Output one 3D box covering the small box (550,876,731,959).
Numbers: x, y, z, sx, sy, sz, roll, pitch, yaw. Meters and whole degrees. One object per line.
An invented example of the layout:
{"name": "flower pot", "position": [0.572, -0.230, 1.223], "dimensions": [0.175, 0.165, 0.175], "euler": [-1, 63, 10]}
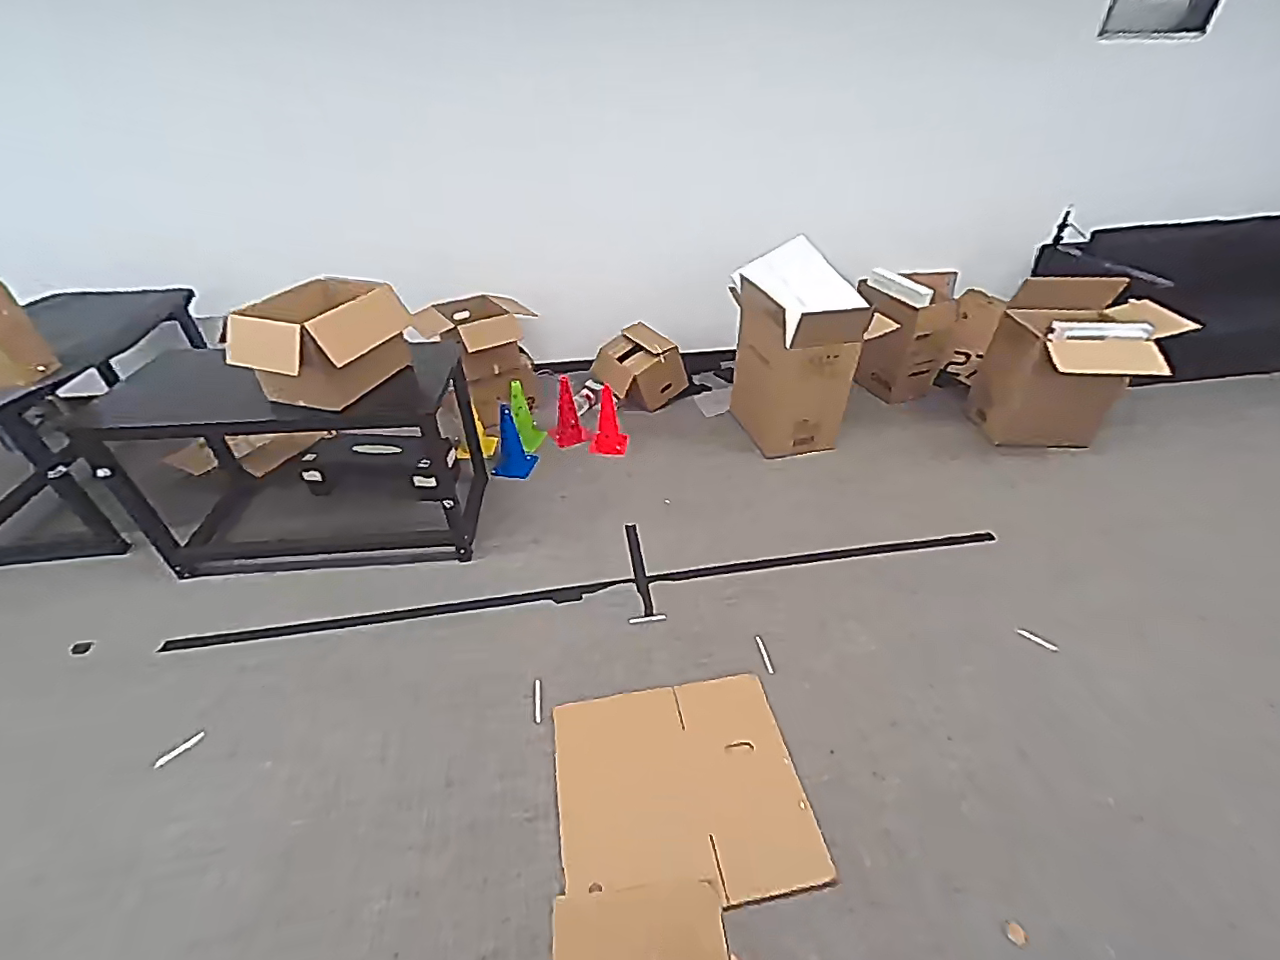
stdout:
{"name": "small box", "position": [-0.002, 0.539, 0.554], "dimensions": [0.179, 0.176, 0.168], "euler": [0, 38, -8]}
